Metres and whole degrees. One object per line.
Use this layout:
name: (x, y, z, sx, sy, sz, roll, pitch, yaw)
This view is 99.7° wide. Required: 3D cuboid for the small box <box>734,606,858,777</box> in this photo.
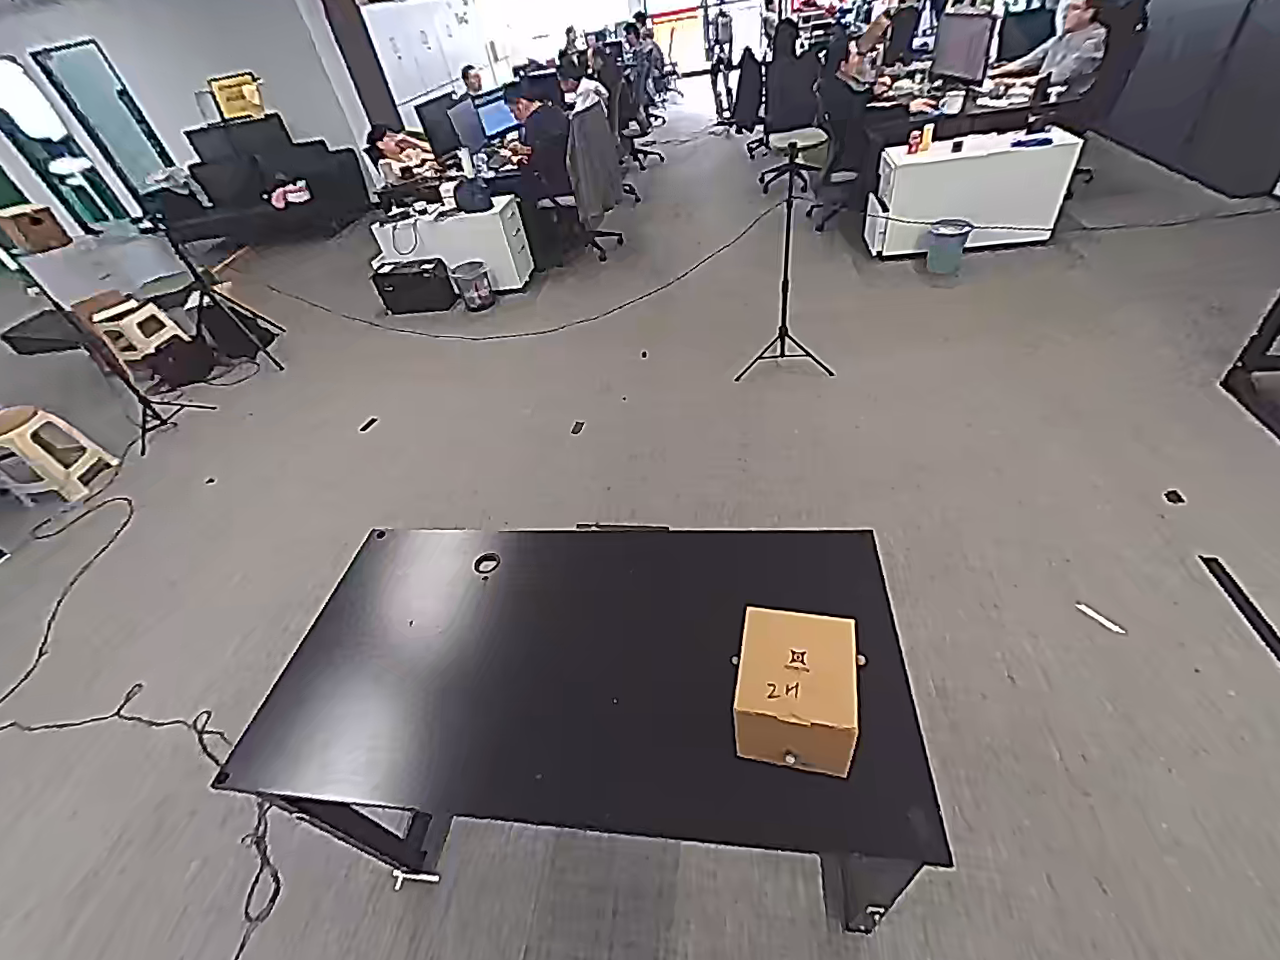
small box: (0.242, 0.326, 0.841, 0.168, 0.176, 0.179, 3, 44, 17)
